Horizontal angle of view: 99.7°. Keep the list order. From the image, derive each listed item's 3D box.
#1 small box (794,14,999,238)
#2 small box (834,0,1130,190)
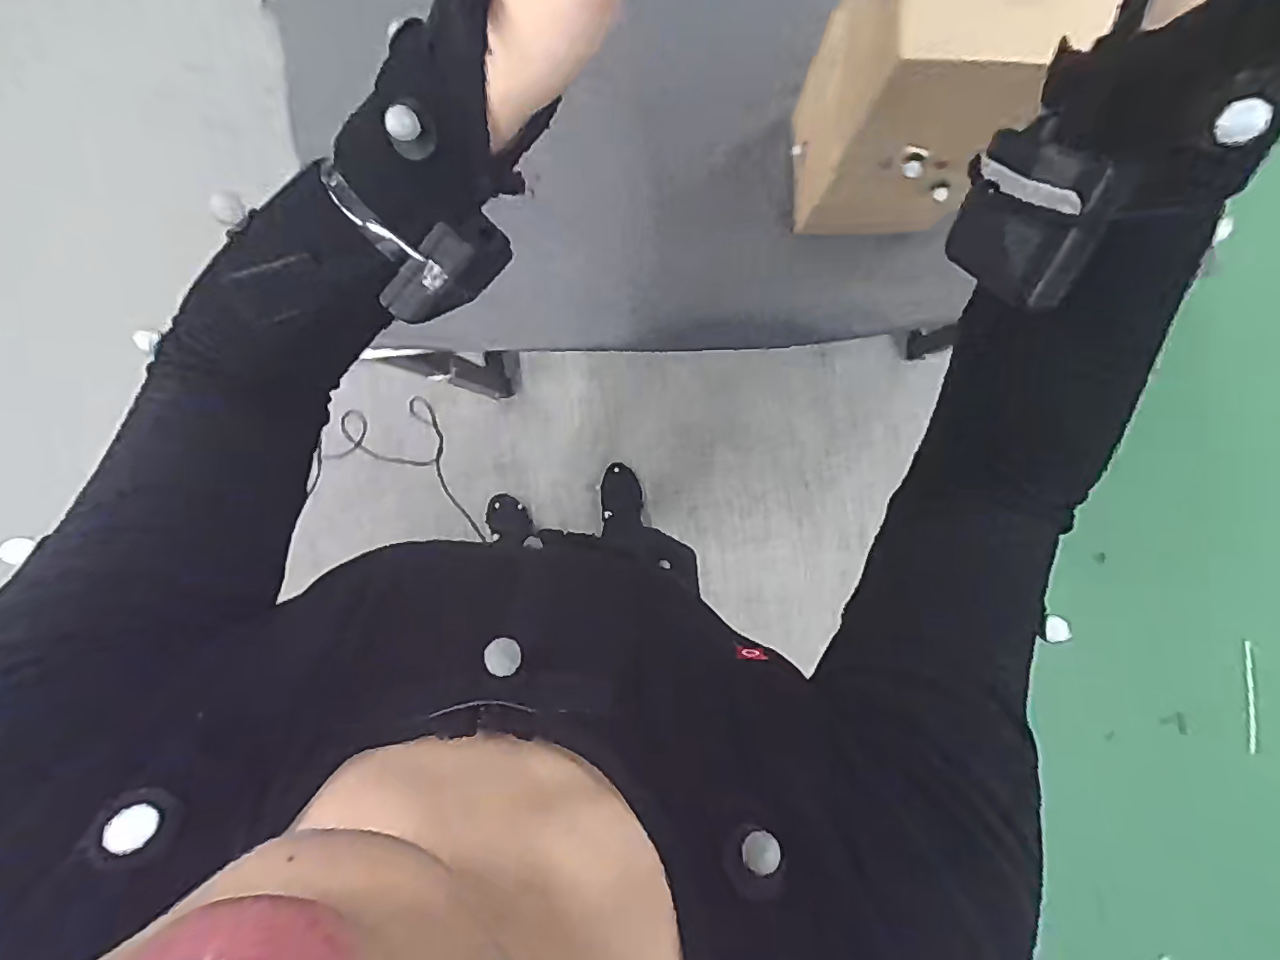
[{"bbox_3d":[0.293,-0.403,0.641,0.179,0.176,0.168,-1,91,2],"label":"small box"},{"bbox_3d":[0.283,-0.390,0.479,0.168,0.176,0.179,4,93,3],"label":"small box"}]
